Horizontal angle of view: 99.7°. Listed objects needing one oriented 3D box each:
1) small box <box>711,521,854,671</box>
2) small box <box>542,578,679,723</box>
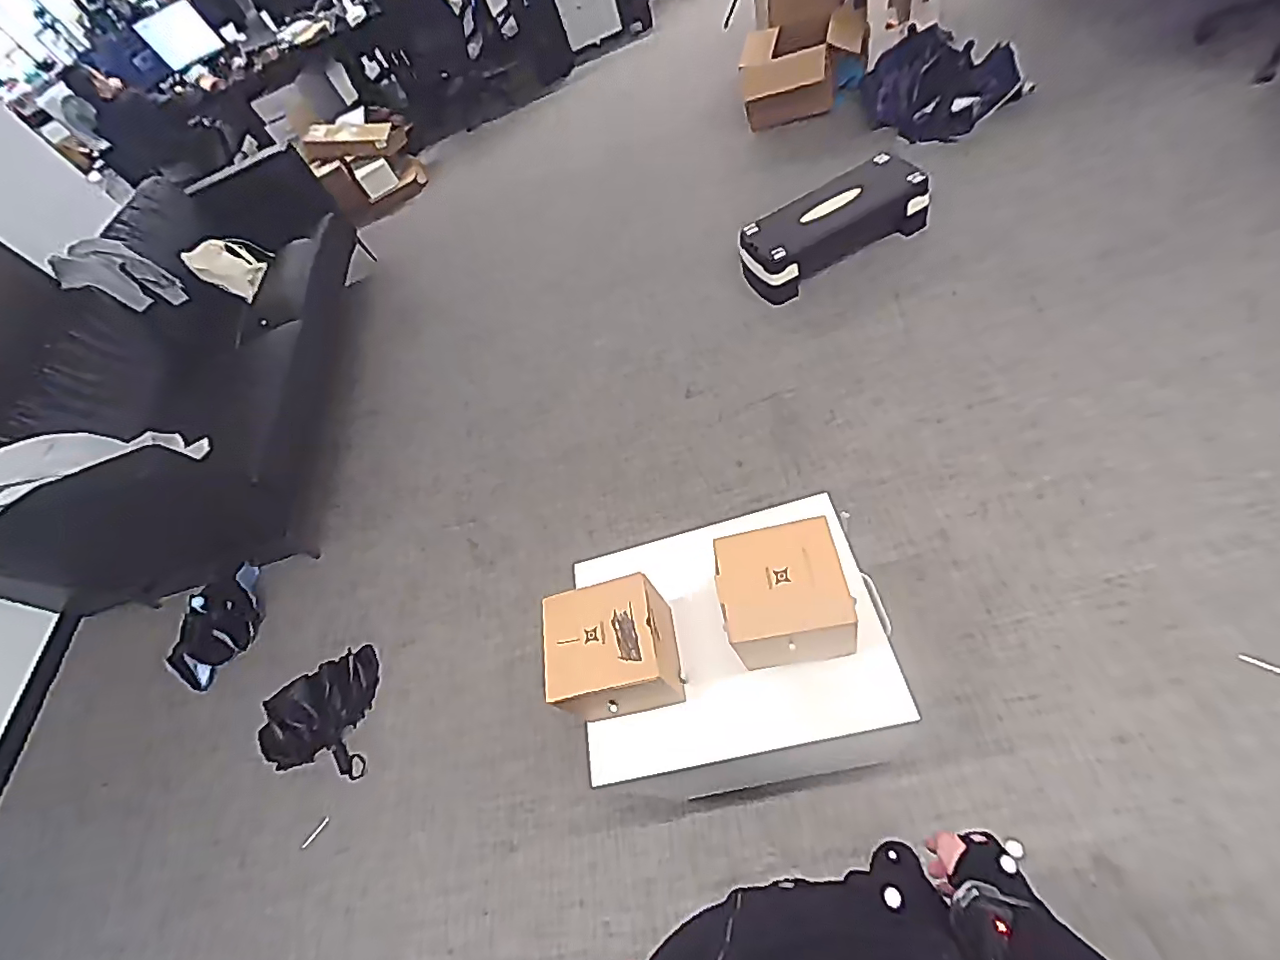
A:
[{"bbox_3d":[0.222,0.187,0.839,0.179,0.176,0.168,-14,56,12],"label":"small box"},{"bbox_3d":[-0.042,0.282,0.875,0.179,0.176,0.168,-17,53,11],"label":"small box"}]
